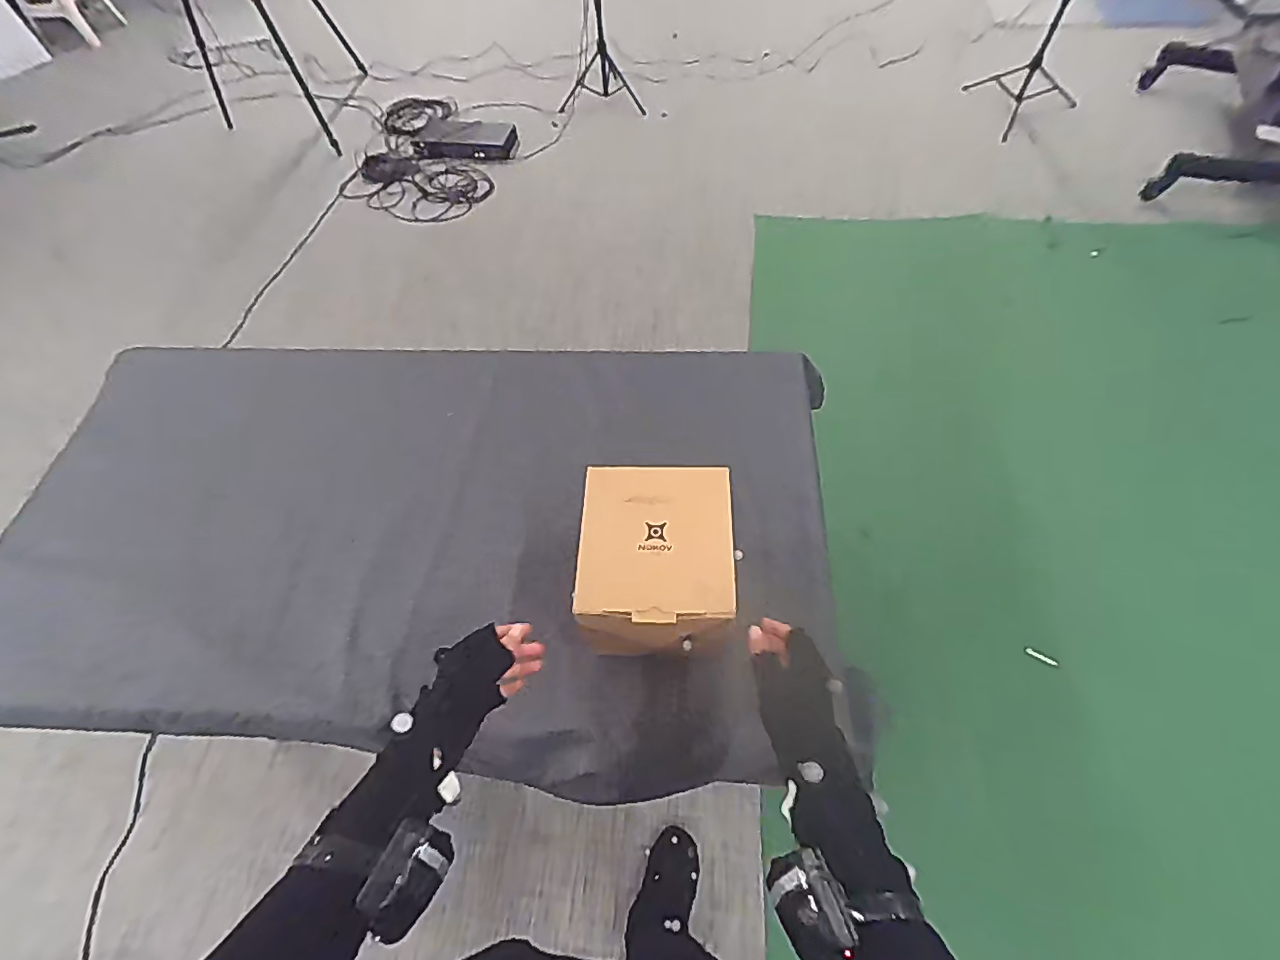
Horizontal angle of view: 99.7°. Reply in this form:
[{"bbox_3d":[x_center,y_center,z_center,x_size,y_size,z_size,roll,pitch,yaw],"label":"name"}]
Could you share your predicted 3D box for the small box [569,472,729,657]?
[{"bbox_3d":[0.015,0.107,0.651,0.168,0.176,0.179,0,57,2],"label":"small box"}]
